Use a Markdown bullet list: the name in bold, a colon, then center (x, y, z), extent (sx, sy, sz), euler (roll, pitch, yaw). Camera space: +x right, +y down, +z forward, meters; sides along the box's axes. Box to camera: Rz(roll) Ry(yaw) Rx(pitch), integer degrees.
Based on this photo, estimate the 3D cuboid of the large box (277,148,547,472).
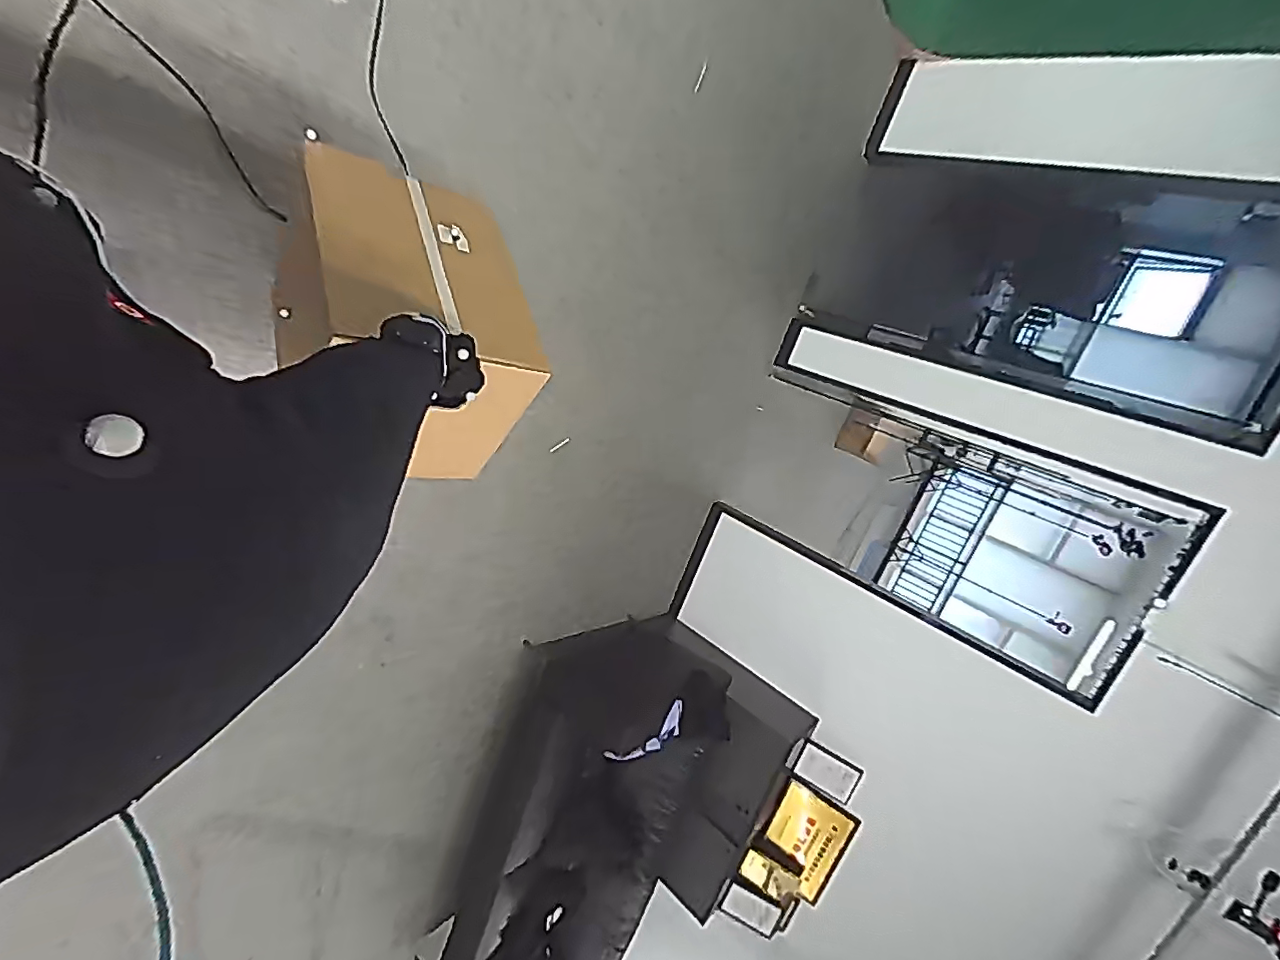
- **large box**: center (-0.413, -0.259, 0.935), extent (0.320, 0.408, 0.320), euler (2, 146, -42)
